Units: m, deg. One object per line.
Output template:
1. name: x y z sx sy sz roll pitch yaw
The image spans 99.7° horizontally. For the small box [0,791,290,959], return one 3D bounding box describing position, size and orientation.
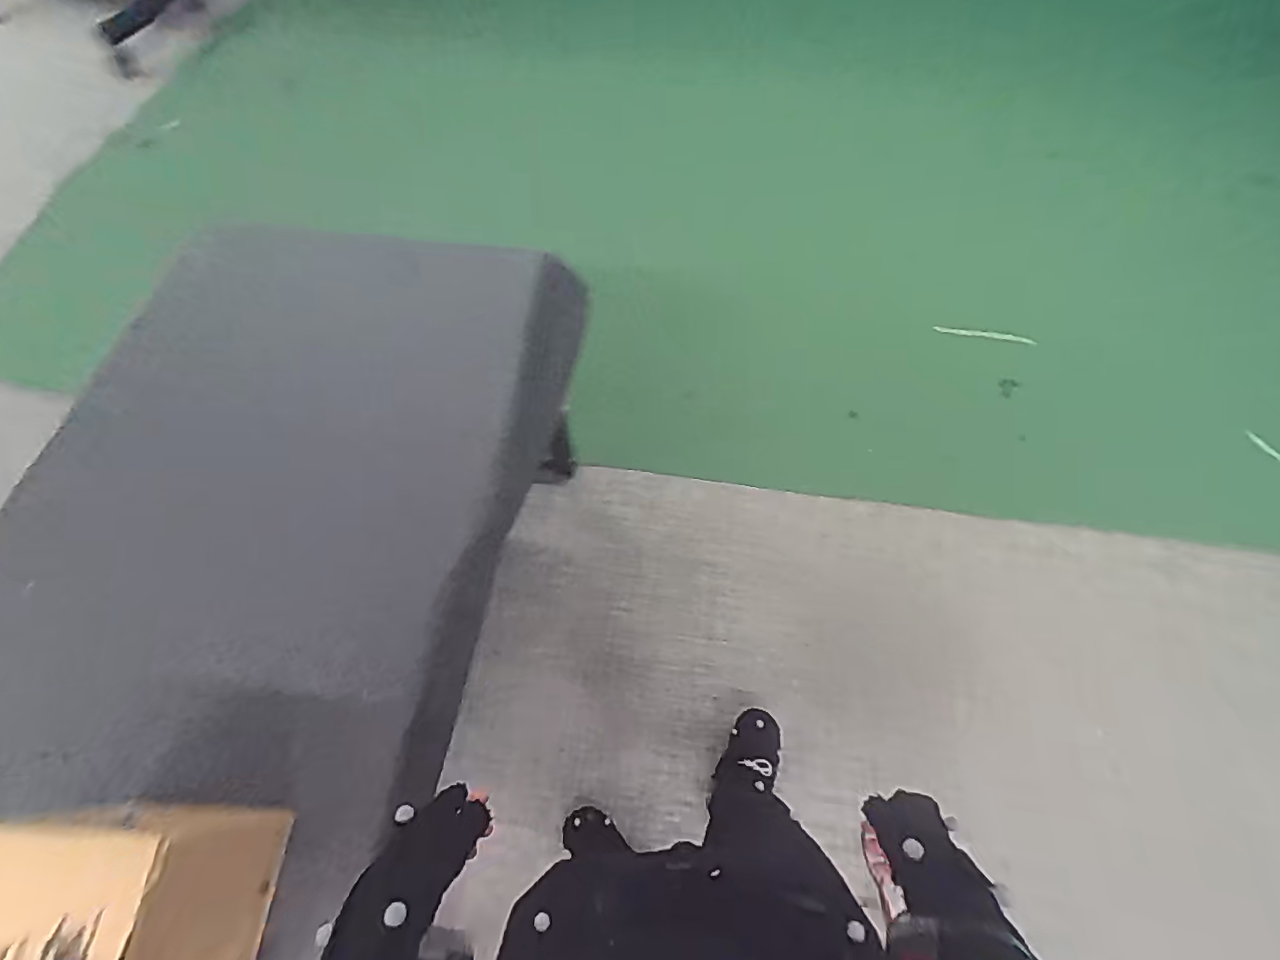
1. small box: -0.446 0.368 0.459 0.179 0.176 0.168 1 64 3
